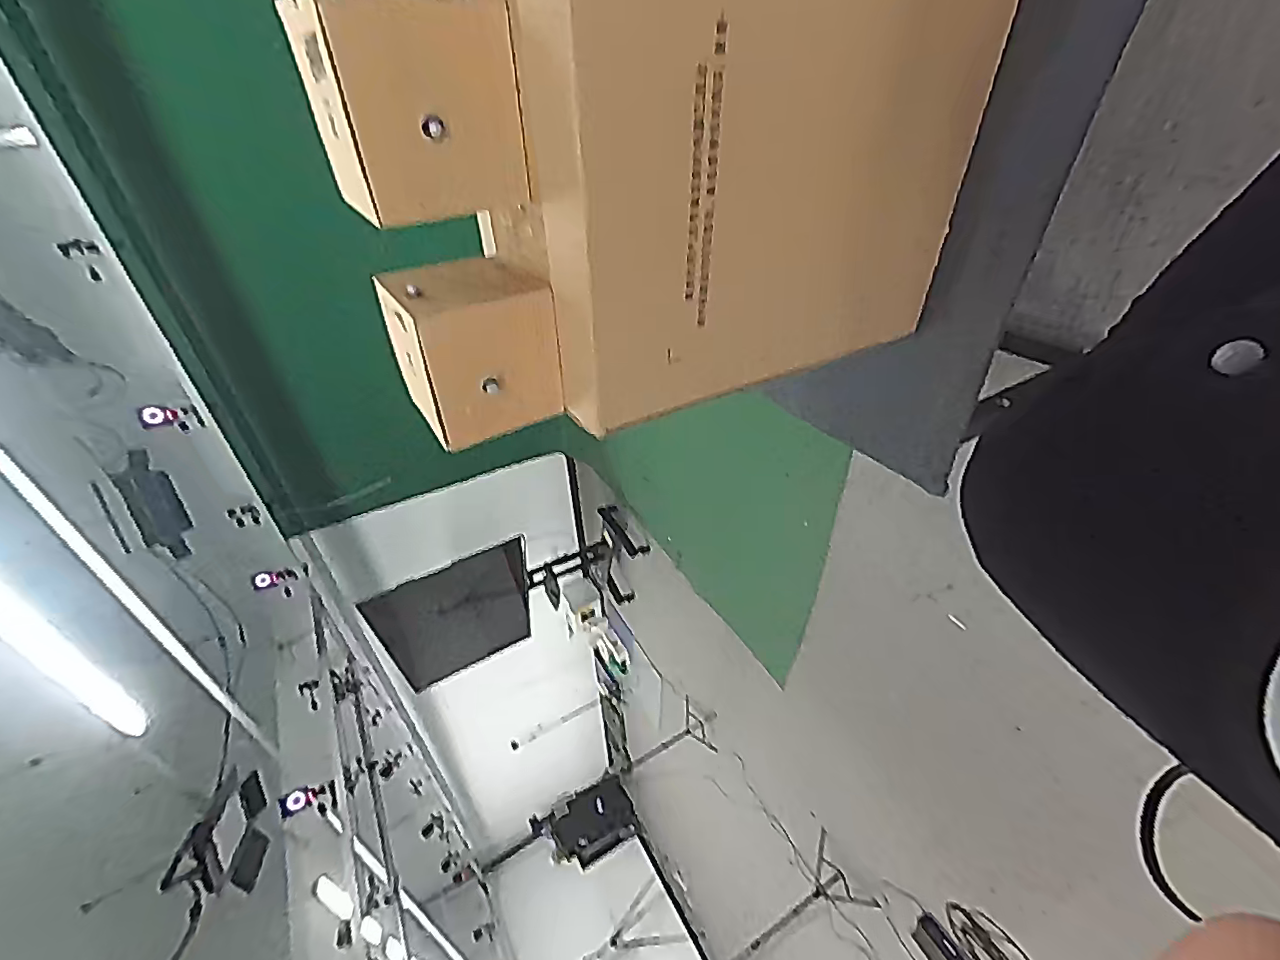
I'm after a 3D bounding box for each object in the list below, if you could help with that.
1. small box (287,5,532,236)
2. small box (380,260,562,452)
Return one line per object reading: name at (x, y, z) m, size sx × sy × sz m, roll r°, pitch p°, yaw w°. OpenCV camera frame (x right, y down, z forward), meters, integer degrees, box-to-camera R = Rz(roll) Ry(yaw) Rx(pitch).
small box at (-0.232, -0.382, 0.572) m, size 0.168 × 0.176 × 0.179 m, roll 42°, pitch 146°, yaw 39°
small box at (-0.214, -0.171, 0.719) m, size 0.168 × 0.176 × 0.179 m, roll 42°, pitch 145°, yaw 40°
